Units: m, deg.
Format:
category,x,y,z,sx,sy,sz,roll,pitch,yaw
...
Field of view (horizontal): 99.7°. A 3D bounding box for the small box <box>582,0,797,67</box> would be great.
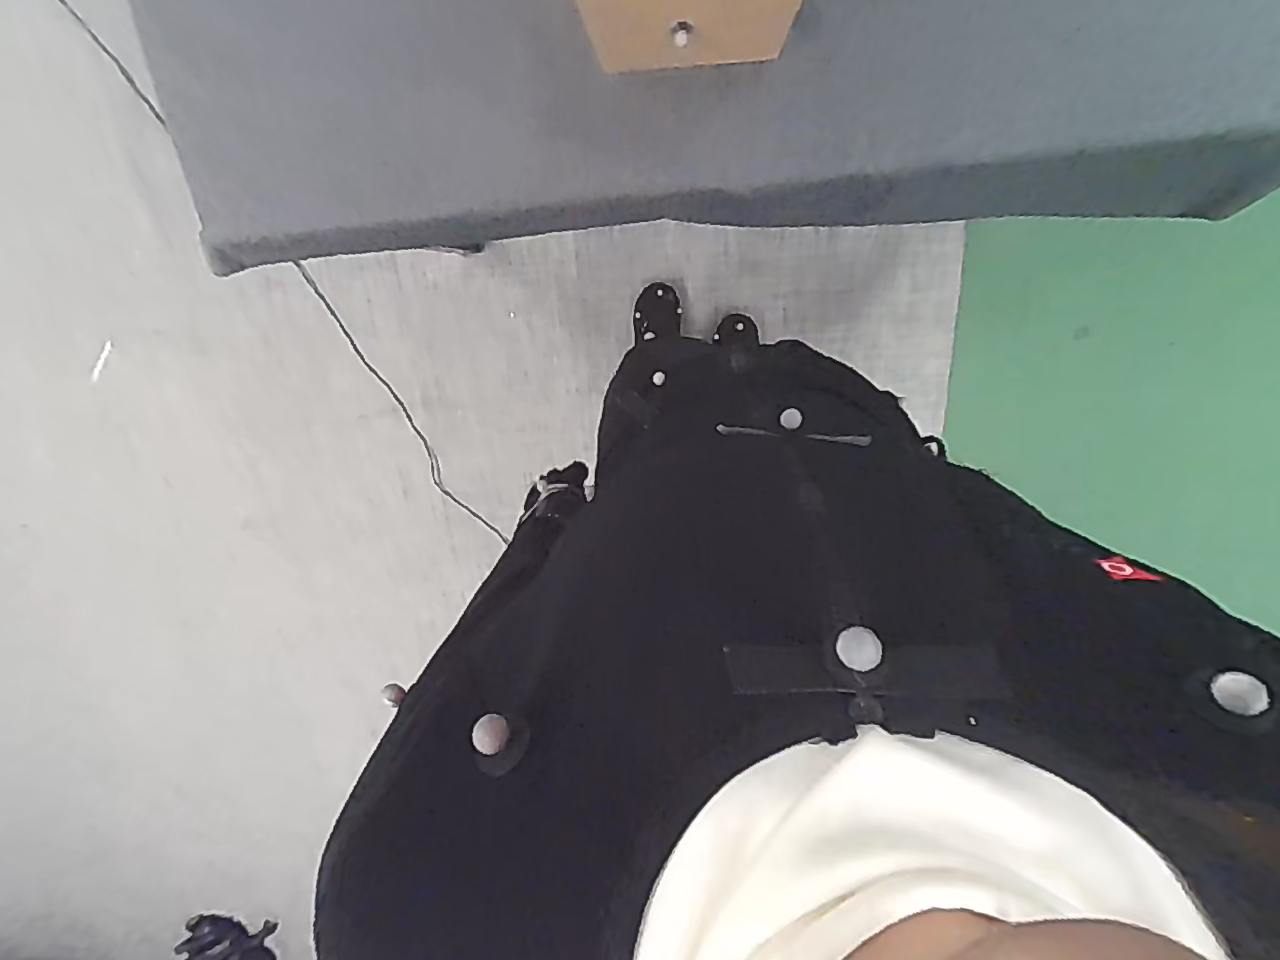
category,x,y,z,sx,sy,sz,roll,pitch,yaw
small box,0.043,-0.467,0.440,0.179,0.176,0.168,-1,110,6
